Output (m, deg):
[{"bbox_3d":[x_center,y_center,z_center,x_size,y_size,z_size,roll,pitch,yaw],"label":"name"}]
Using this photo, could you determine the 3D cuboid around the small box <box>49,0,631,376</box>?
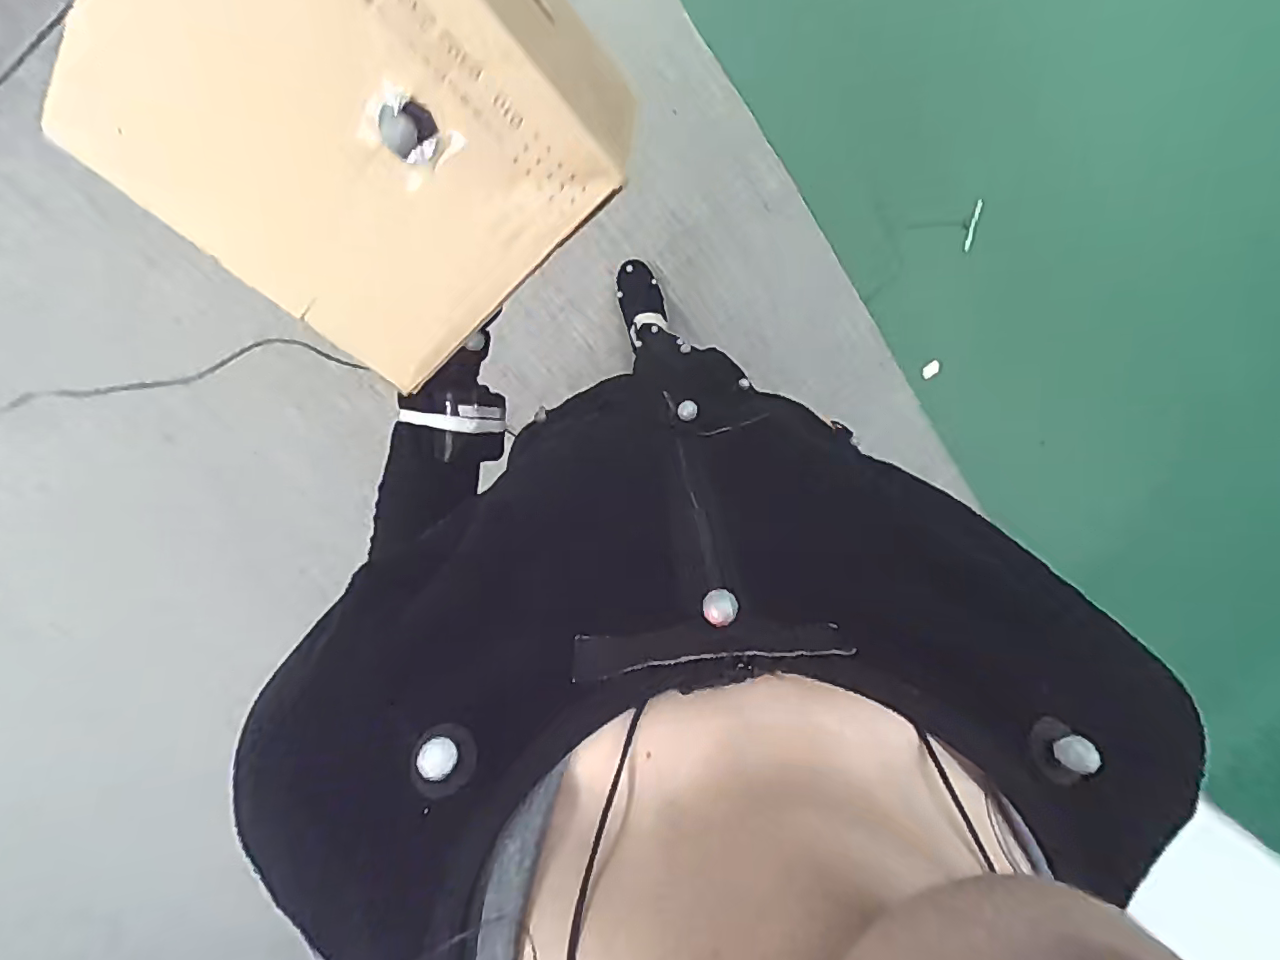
[{"bbox_3d":[-0.116,-0.195,0.274,0.176,0.179,0.168,-34,124,28],"label":"small box"}]
